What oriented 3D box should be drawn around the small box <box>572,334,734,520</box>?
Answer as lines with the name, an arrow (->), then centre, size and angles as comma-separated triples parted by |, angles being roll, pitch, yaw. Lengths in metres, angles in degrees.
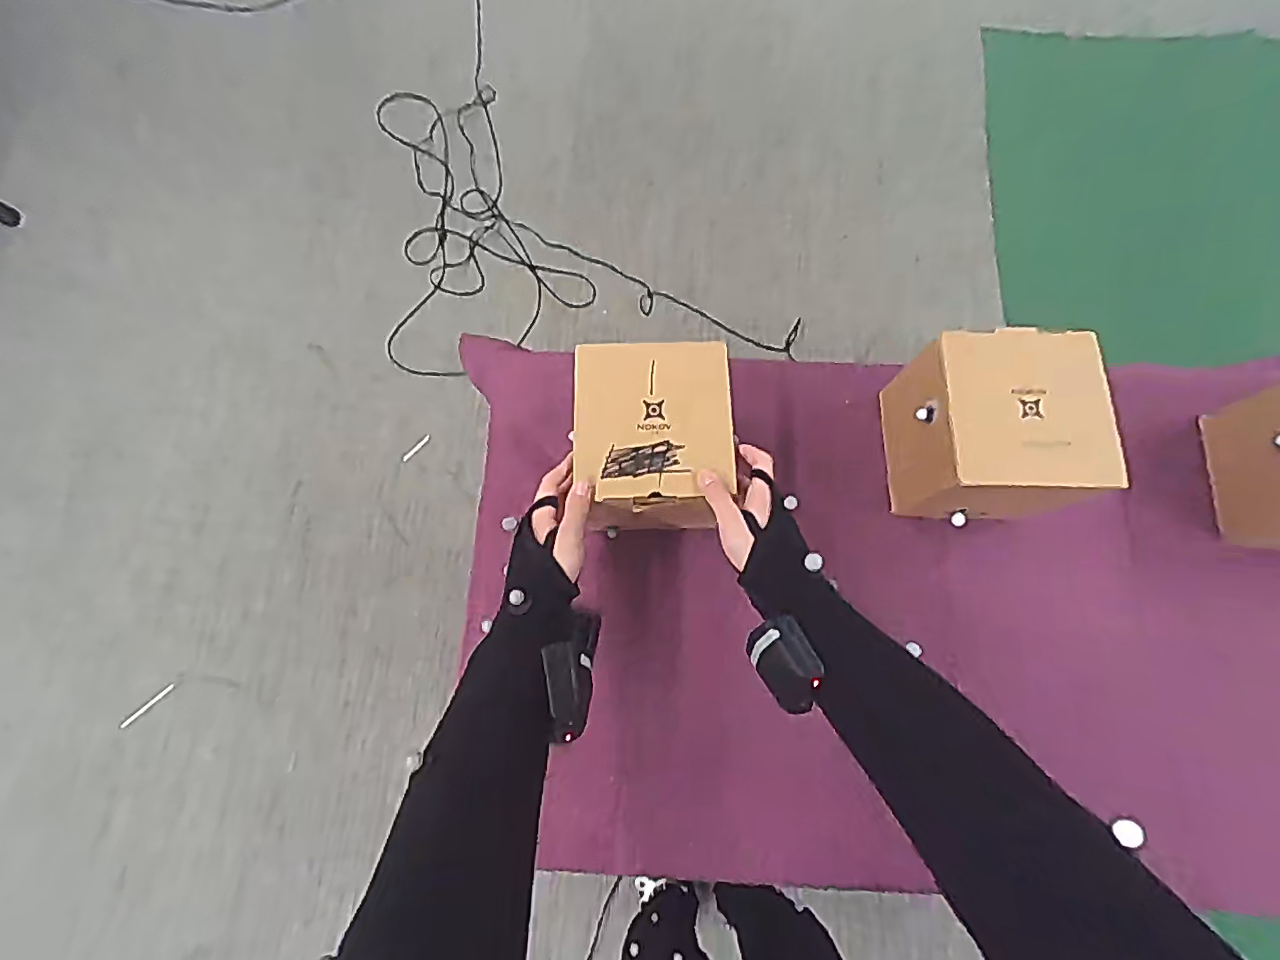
small box -> 0.014, -0.050, 0.634 | 0.168, 0.176, 0.179 | -1, 74, 0

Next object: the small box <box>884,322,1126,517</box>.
small box -> 0.402, -0.062, 0.633 | 0.168, 0.176, 0.179 | 2, 75, 2

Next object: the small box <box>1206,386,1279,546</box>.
small box -> 0.811, -0.023, 0.613 | 0.168, 0.176, 0.179 | 5, 74, 3
